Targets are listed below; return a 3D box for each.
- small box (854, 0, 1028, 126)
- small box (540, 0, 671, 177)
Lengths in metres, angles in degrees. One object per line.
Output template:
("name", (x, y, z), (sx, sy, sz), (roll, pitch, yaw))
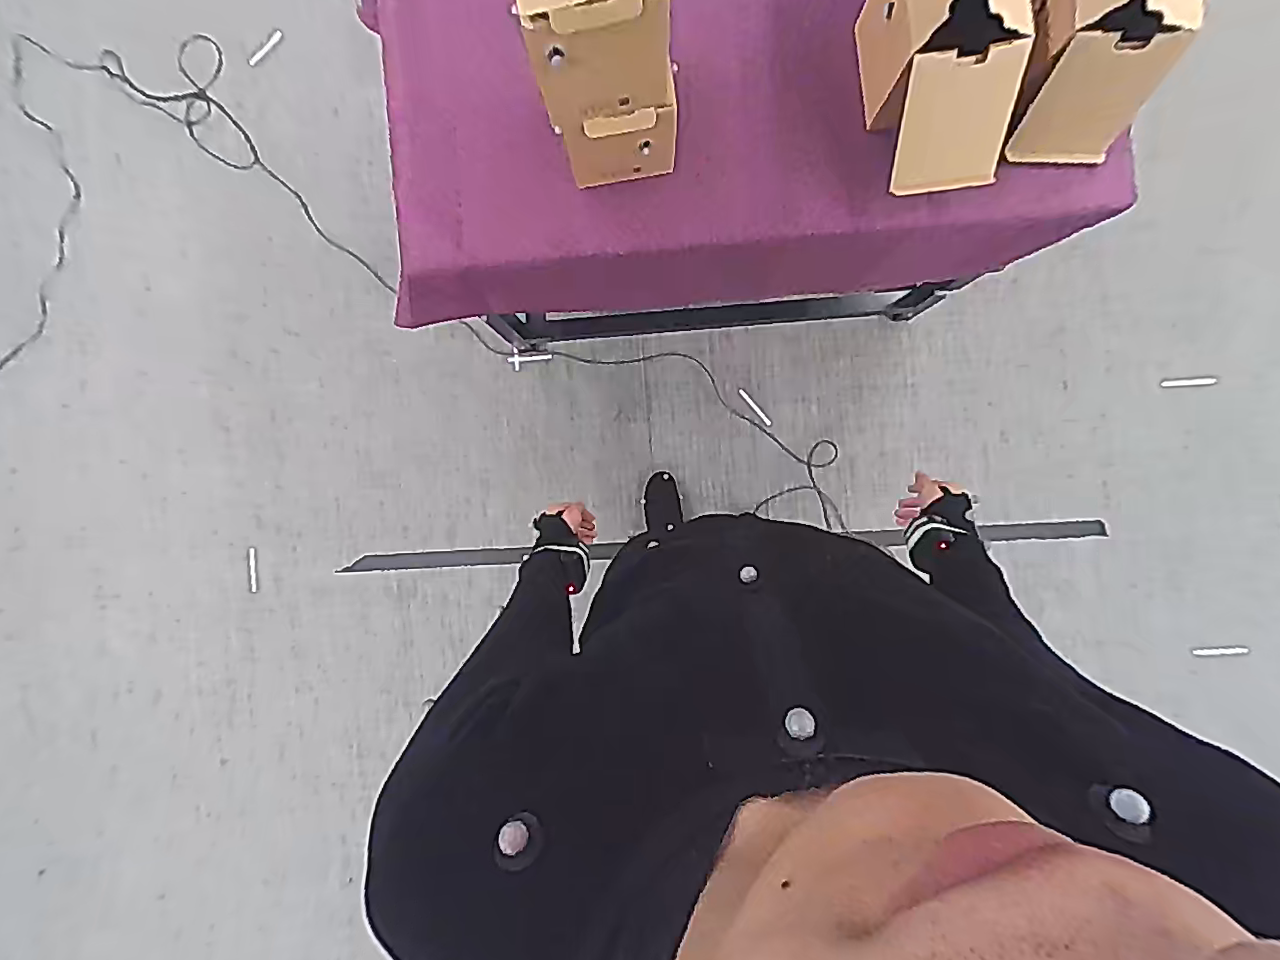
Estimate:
("small box", (0.436, -0.677, 0.811), (0.168, 0.176, 0.179), (-7, 91, 2))
("small box", (-0.045, -0.592, 0.828), (0.168, 0.176, 0.179), (-8, 90, 1))
